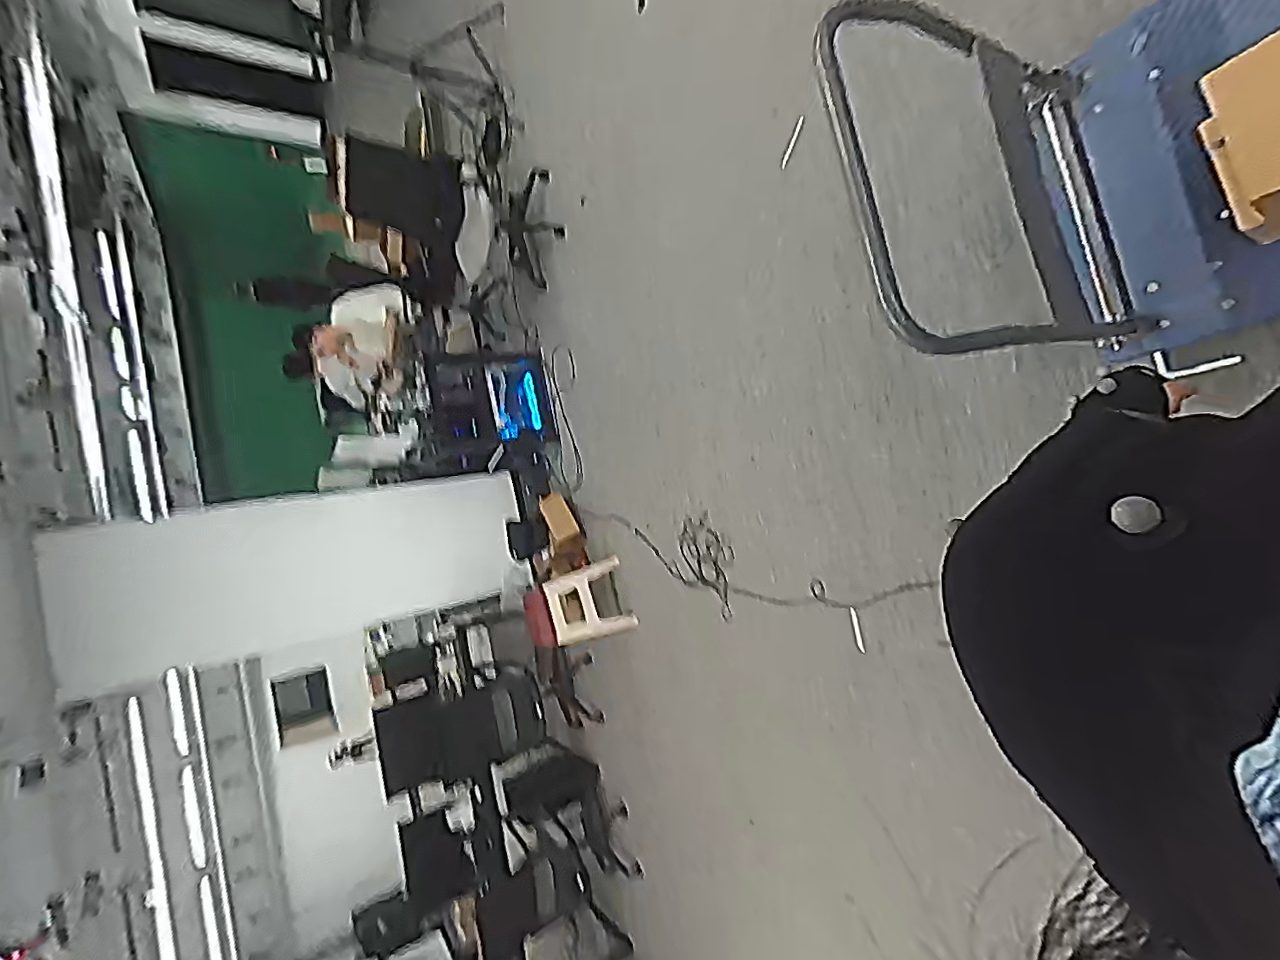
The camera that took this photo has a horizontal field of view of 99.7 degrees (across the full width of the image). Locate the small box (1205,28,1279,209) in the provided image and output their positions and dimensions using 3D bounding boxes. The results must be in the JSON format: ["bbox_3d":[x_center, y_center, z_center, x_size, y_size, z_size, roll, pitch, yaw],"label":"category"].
[{"bbox_3d":[0.831,-0.453,0.644,0.168,0.176,0.179,-24,78,55],"label":"small box"}]

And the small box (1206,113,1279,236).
[{"bbox_3d":[0.951,-0.471,0.758,0.168,0.176,0.179,-25,78,55],"label":"small box"}]
